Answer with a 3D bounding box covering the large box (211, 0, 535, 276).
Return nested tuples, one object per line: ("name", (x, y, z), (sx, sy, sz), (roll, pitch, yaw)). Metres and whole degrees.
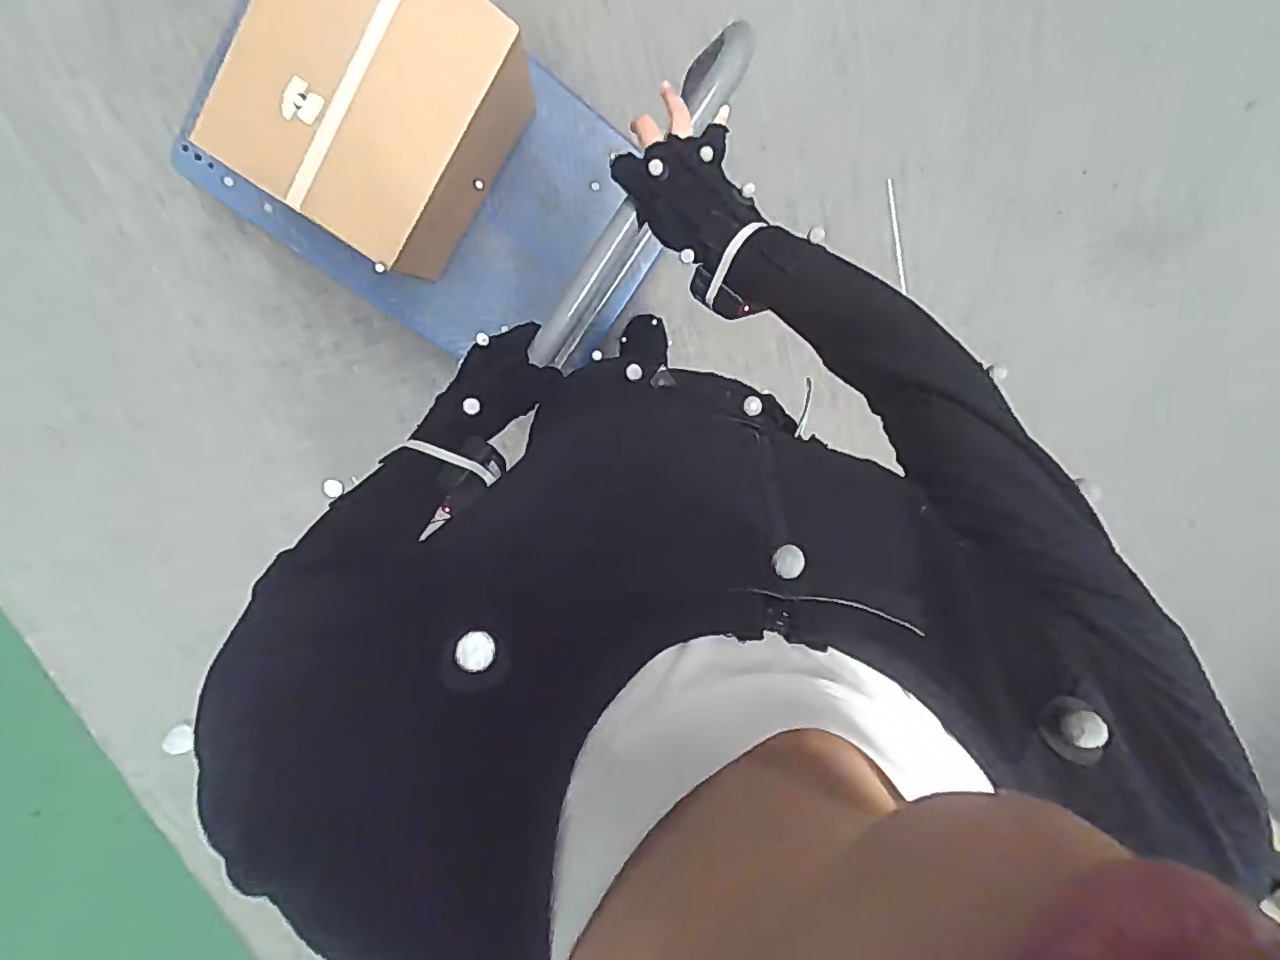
("large box", (-0.416, -0.621, 0.933), (0.320, 0.320, 0.408), (32, 101, -14))
